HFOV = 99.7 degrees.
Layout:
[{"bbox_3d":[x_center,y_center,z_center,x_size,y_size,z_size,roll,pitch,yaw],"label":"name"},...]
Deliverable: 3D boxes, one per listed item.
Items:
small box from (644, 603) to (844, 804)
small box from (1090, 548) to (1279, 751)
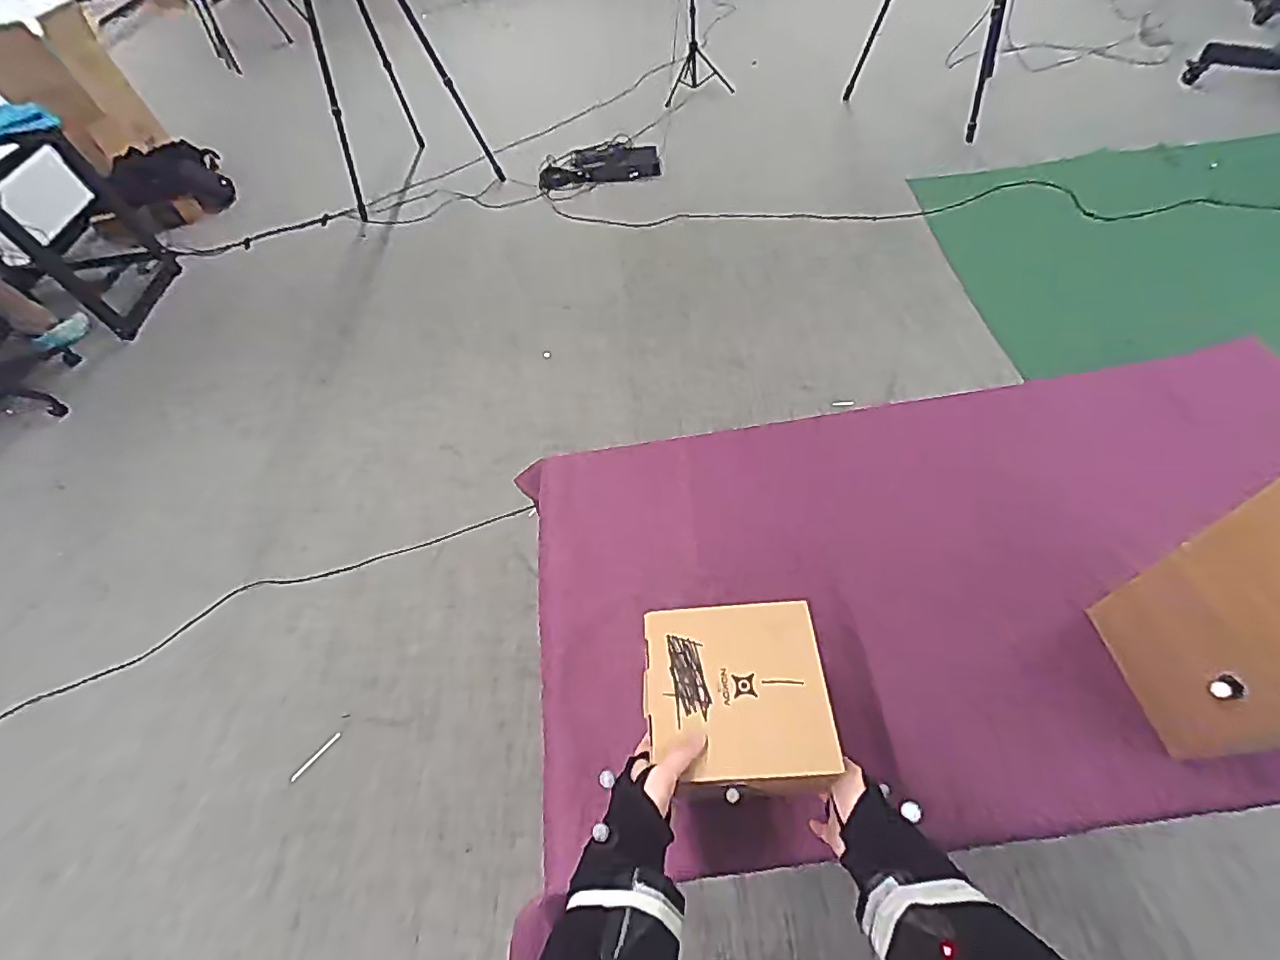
[{"bbox_3d":[0.102,0.251,0.595,0.179,0.176,0.168,-5,54,3],"label":"small box"},{"bbox_3d":[0.645,0.178,0.572,0.168,0.176,0.179,-8,54,2],"label":"small box"}]
